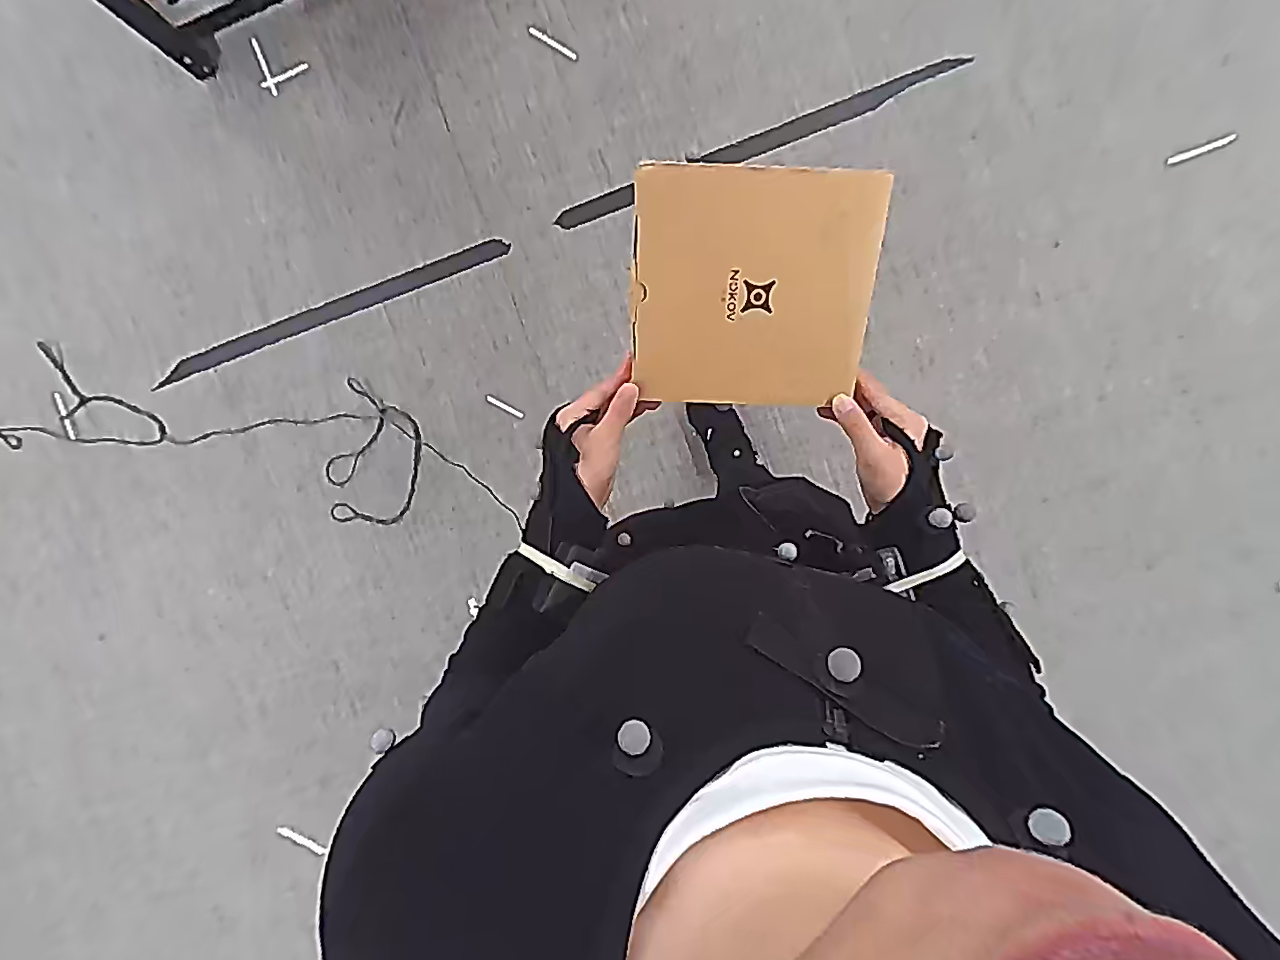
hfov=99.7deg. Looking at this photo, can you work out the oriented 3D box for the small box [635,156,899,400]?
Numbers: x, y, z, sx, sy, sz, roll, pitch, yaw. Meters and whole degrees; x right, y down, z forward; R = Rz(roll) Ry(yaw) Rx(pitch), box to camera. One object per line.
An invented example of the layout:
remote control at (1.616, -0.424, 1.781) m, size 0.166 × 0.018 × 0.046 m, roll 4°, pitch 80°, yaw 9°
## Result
small box at (0.088, -0.174, 0.468) m, size 0.179 × 0.176 × 0.168 m, roll 2°, pitch 114°, yaw 1°
